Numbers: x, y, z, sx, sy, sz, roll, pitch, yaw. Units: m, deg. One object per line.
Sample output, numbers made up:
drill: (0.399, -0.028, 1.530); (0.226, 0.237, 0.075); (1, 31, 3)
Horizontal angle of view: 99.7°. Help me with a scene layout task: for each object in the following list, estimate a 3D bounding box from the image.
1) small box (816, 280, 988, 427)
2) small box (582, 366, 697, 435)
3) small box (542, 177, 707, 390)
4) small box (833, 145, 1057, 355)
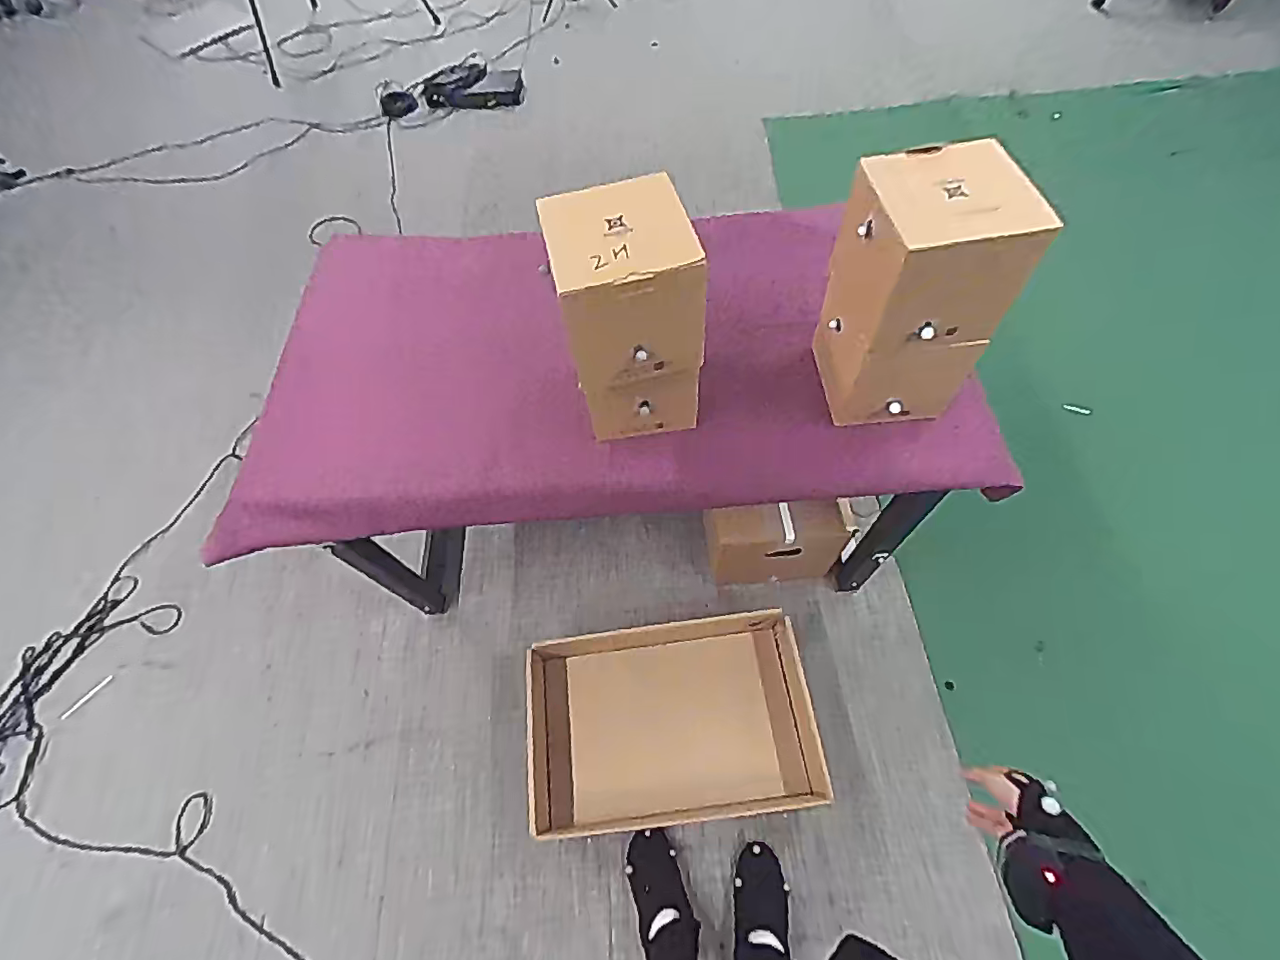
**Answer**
small box: (0.379, -0.203, 0.824); (0.168, 0.176, 0.179); (-5, 60, 3)
small box: (-0.002, -0.184, 0.846); (0.168, 0.176, 0.179); (-8, 60, 0)
small box: (-0.019, -0.245, 0.691); (0.168, 0.176, 0.179); (-14, 60, -2)
small box: (0.361, -0.285, 0.685); (0.168, 0.176, 0.179); (-8, 59, 2)
